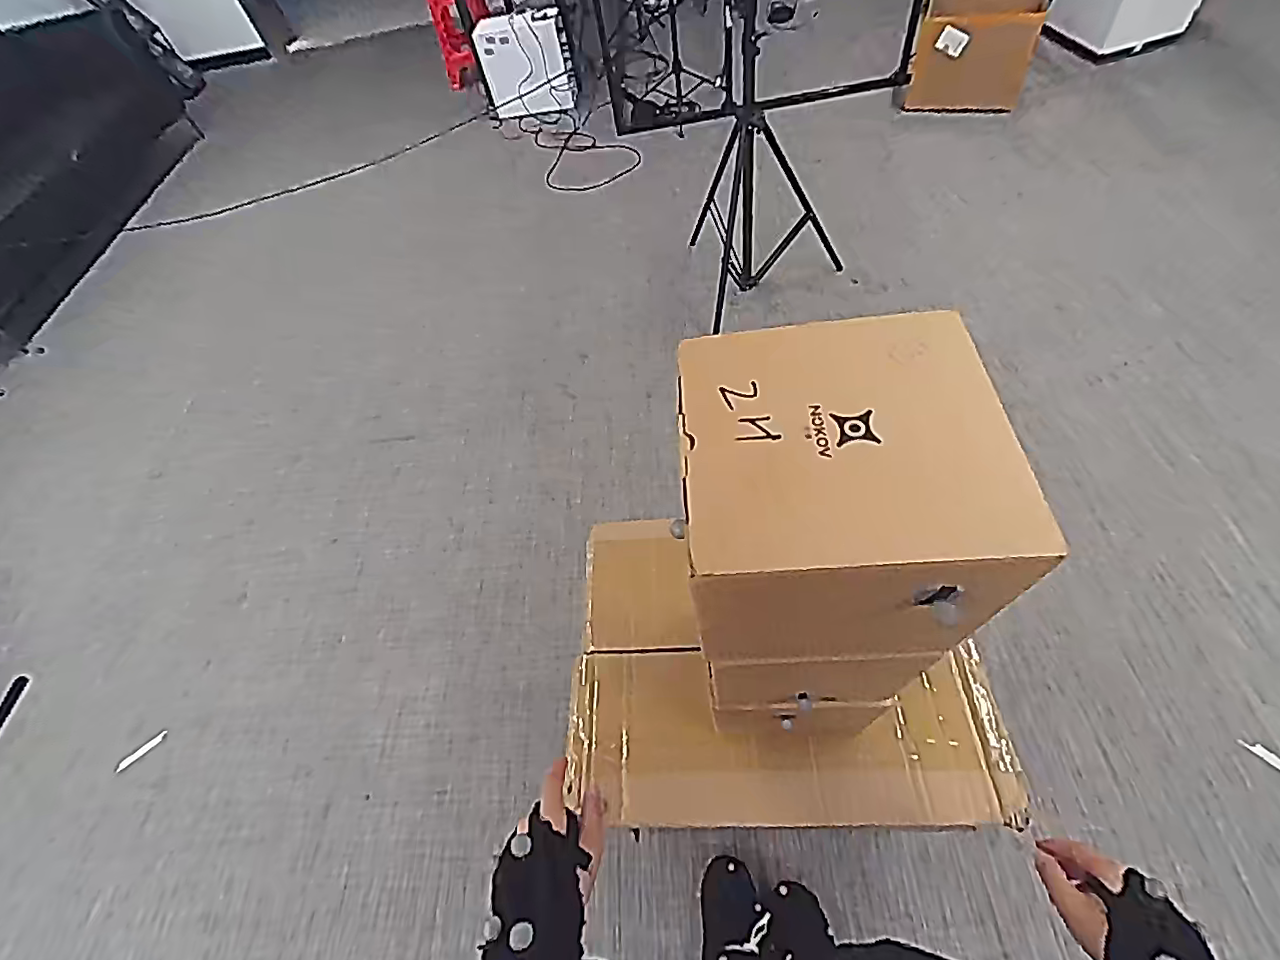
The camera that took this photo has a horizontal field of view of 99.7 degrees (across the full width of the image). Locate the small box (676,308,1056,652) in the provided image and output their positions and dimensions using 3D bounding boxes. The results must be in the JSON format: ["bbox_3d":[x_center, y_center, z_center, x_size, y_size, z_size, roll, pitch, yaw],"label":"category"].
[{"bbox_3d":[0.119,0.012,0.367,0.179,0.176,0.168,-5,57,8],"label":"small box"}]

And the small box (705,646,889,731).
[{"bbox_3d":[0.168,0.195,0.637,0.179,0.176,0.168,-4,57,7],"label":"small box"}]
